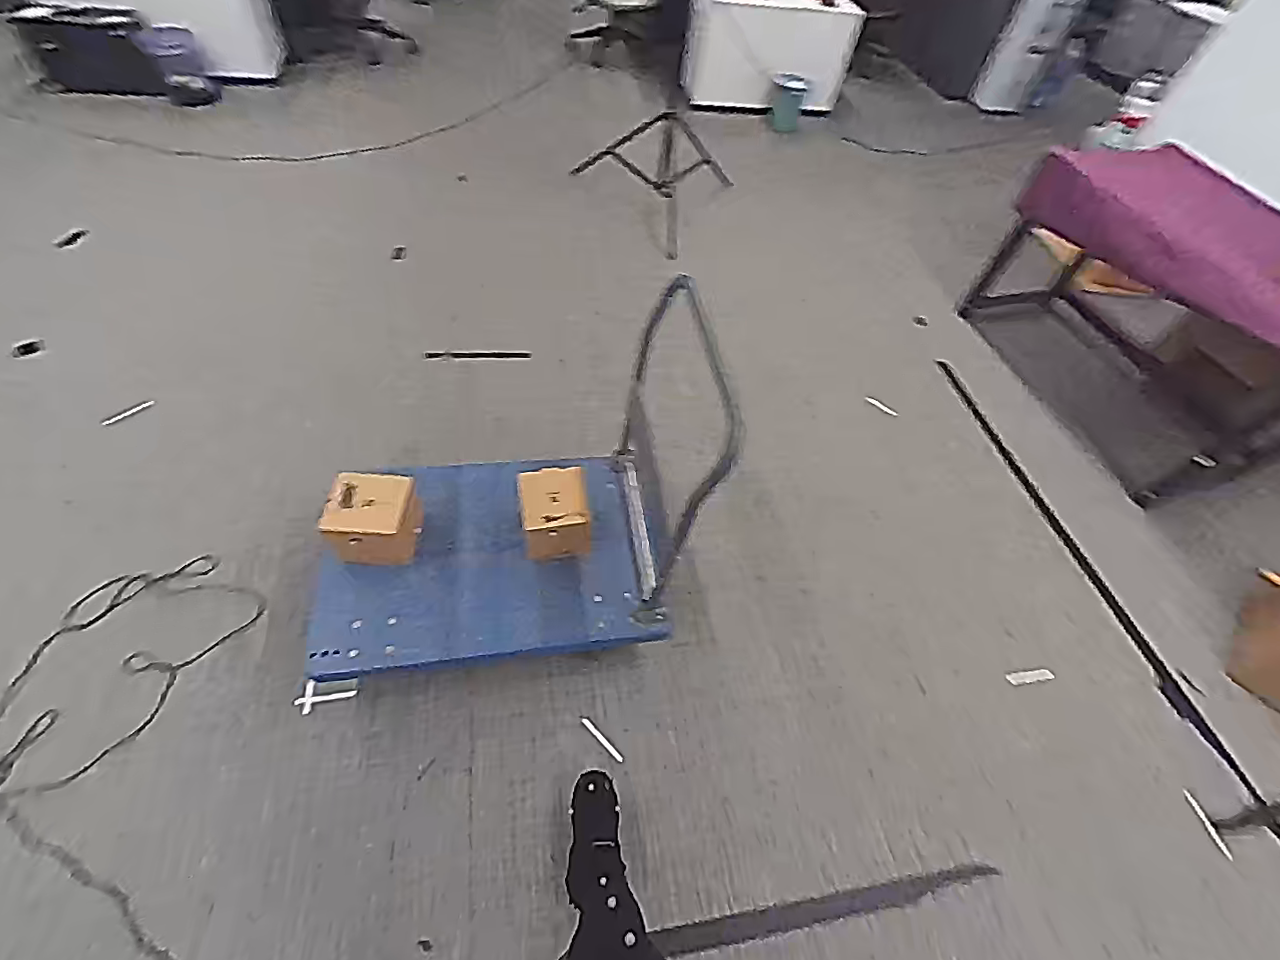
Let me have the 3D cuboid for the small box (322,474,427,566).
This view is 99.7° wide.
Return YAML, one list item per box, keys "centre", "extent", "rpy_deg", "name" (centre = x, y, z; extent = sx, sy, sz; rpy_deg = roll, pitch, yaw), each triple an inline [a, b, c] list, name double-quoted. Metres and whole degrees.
- centre: [-0.659, 0.104, 1.365]
  extent: [0.179, 0.176, 0.168]
  rpy_deg: [5, 54, -6]
  name: "small box"

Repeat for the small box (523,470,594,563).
- centre: [-0.220, 0.099, 1.437]
  extent: [0.168, 0.176, 0.179]
  rpy_deg: [-7, 54, -13]
  name: "small box"
